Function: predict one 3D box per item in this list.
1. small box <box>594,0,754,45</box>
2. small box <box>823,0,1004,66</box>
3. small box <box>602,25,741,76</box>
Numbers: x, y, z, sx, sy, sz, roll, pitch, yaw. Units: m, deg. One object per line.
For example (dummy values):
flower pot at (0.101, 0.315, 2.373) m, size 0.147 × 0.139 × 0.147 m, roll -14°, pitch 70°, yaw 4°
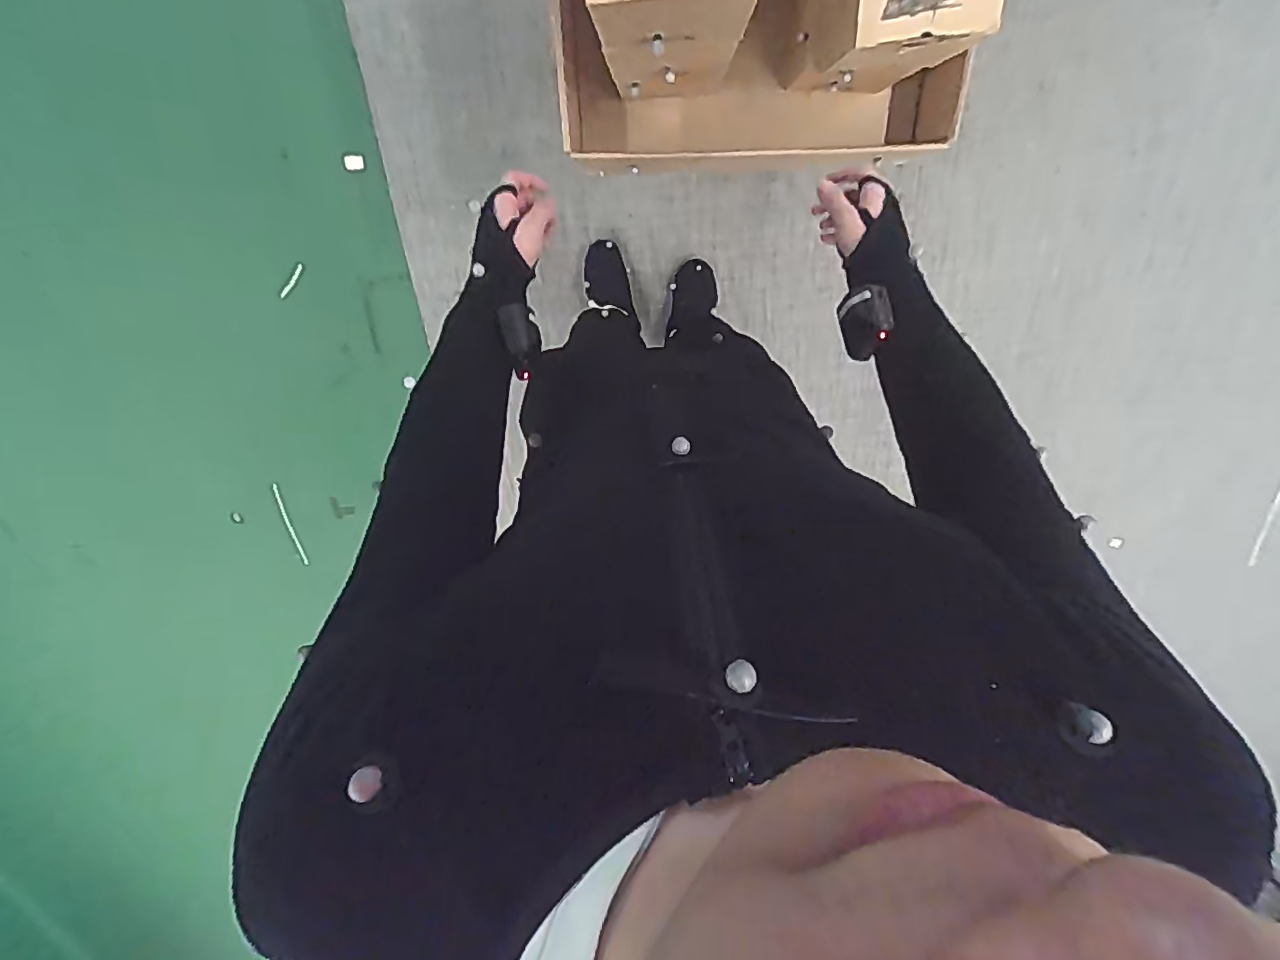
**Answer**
small box at (0.030, -0.560, 0.525) m, size 0.168 × 0.176 × 0.179 m, roll -1°, pitch 116°, yaw 4°
small box at (0.331, -0.631, 0.661) m, size 0.168 × 0.176 × 0.179 m, roll -3°, pitch 116°, yaw 3°
small box at (0.035, -0.633, 0.671) m, size 0.168 × 0.176 × 0.179 m, roll -2°, pitch 116°, yaw 4°
